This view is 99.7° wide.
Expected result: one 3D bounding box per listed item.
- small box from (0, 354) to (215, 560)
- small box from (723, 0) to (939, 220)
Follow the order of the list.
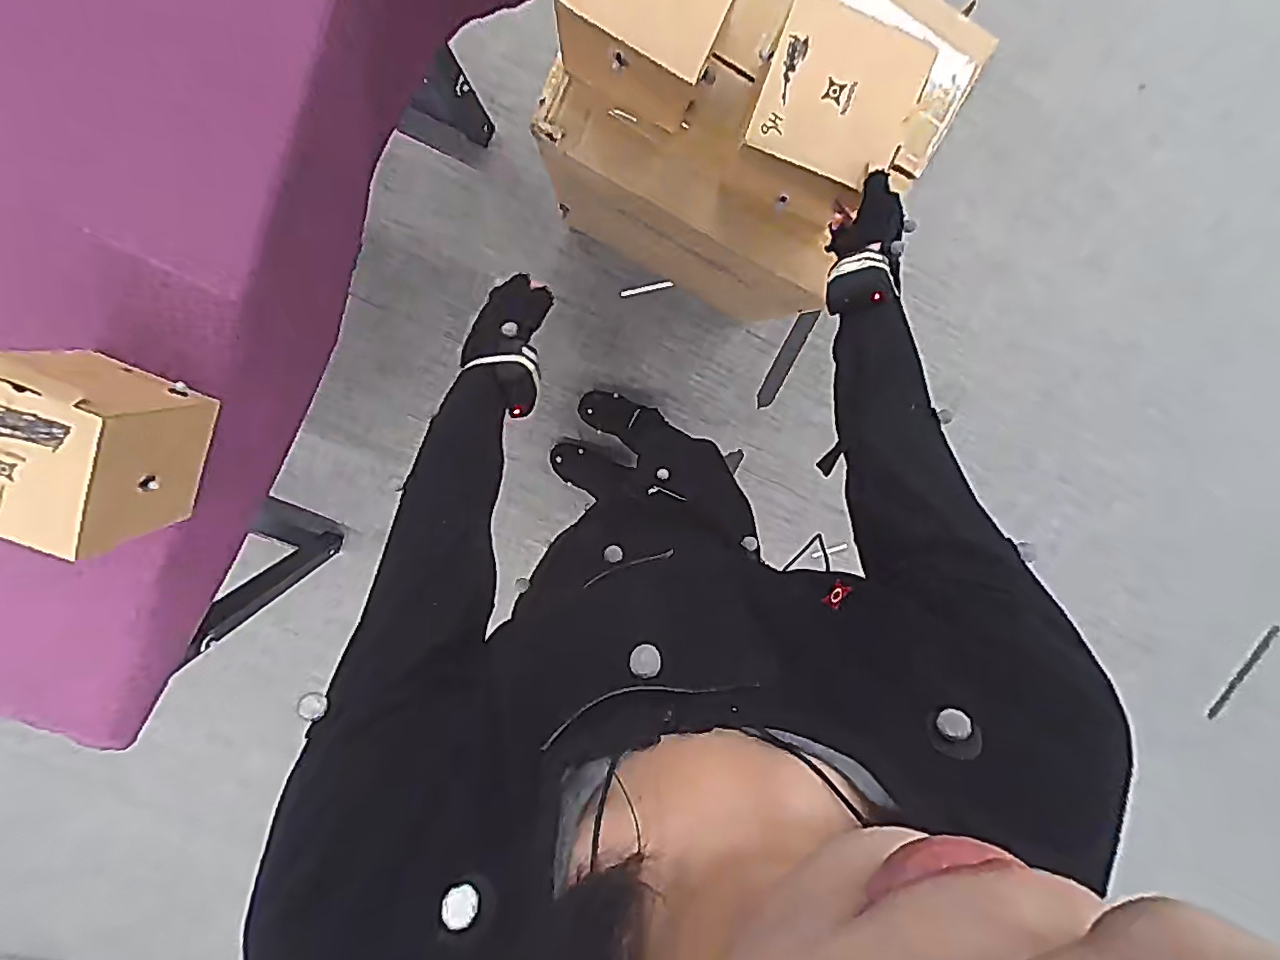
[{"bbox_3d":[-0.652,-0.039,0.635,0.168,0.176,0.179,23,102,-7],"label":"small box"},{"bbox_3d":[0.225,-0.452,0.688,0.179,0.176,0.168,19,103,-6],"label":"small box"}]
